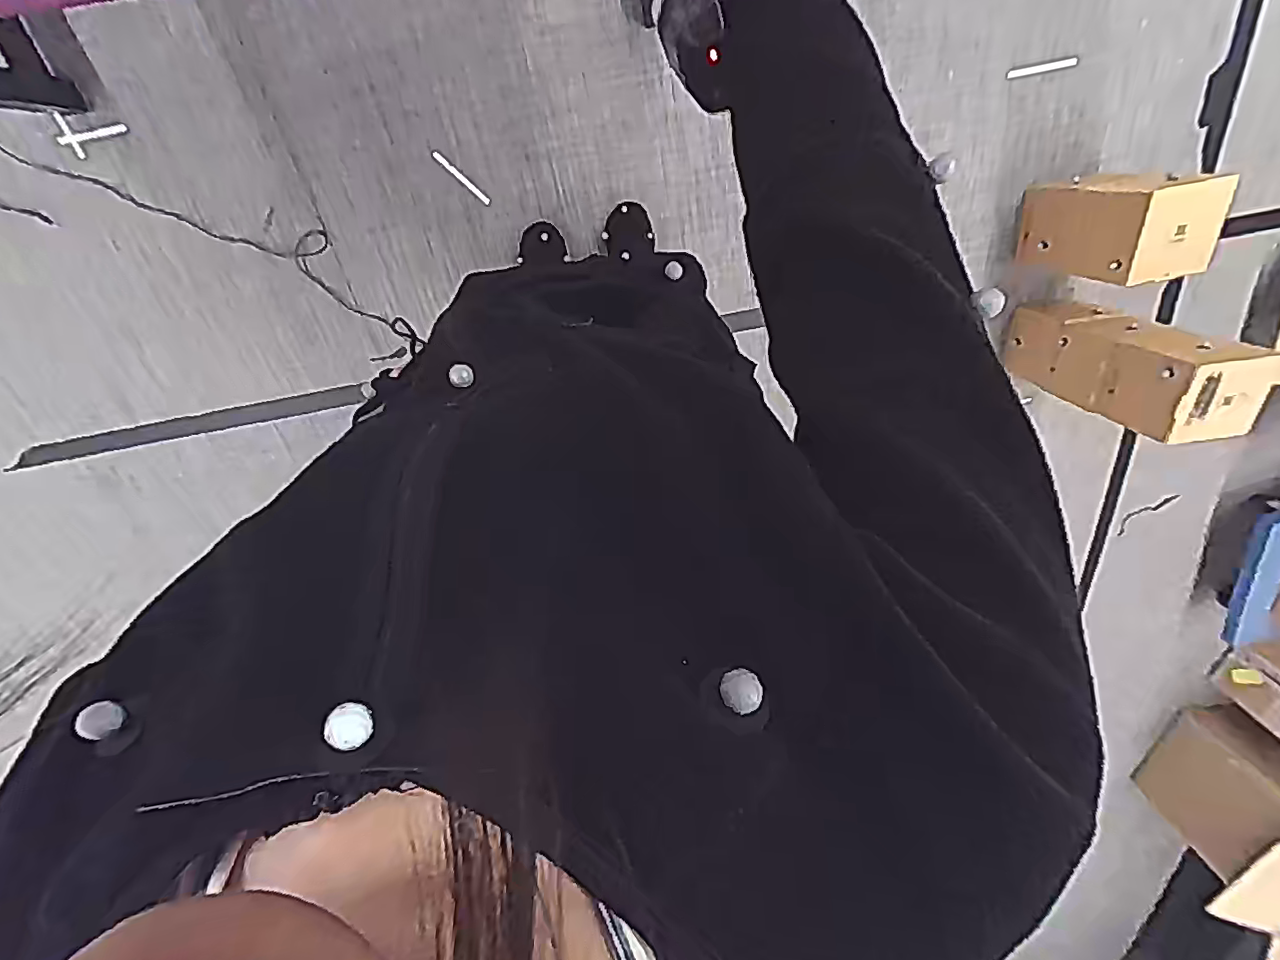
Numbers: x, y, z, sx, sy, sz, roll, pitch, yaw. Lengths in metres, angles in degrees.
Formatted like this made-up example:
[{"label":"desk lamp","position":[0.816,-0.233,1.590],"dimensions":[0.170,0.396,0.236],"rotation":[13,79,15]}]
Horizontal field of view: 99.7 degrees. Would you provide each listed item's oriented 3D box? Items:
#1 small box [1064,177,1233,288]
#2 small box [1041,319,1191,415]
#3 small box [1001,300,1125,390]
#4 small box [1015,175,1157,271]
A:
[{"label":"small box","position":[1.023,-0.511,1.110],"dimensions":[0.168,0.176,0.179],"rotation":[-11,121,0]},{"label":"small box","position":[1.086,-0.266,1.253],"dimensions":[0.179,0.176,0.168],"rotation":[-9,120,-3]},{"label":"small box","position":[1.075,-0.351,1.395],"dimensions":[0.168,0.176,0.179],"rotation":[-7,121,-2]},{"label":"small box","position":[1.014,-0.596,1.249],"dimensions":[0.179,0.176,0.168],"rotation":[-13,121,-1]}]
